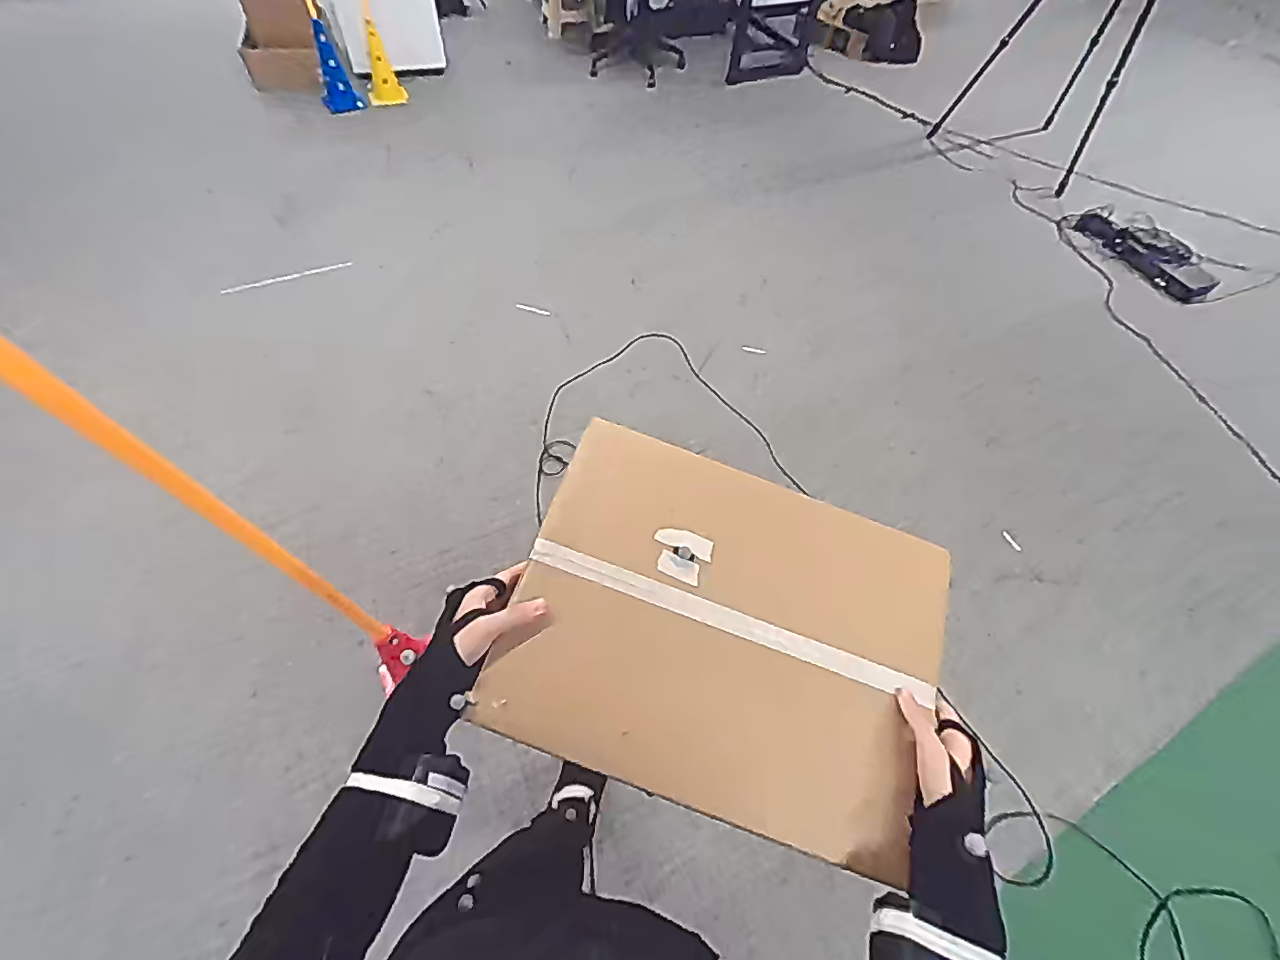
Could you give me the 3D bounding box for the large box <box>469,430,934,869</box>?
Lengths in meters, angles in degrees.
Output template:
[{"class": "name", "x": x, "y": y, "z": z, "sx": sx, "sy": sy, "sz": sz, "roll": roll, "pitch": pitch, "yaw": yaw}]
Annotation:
[{"class": "large box", "x": 0.068, "y": 0.195, "z": 0.666, "sx": 0.408, "sy": 0.320, "sz": 0.320, "roll": 21, "pitch": 67, "yaw": 2}]
